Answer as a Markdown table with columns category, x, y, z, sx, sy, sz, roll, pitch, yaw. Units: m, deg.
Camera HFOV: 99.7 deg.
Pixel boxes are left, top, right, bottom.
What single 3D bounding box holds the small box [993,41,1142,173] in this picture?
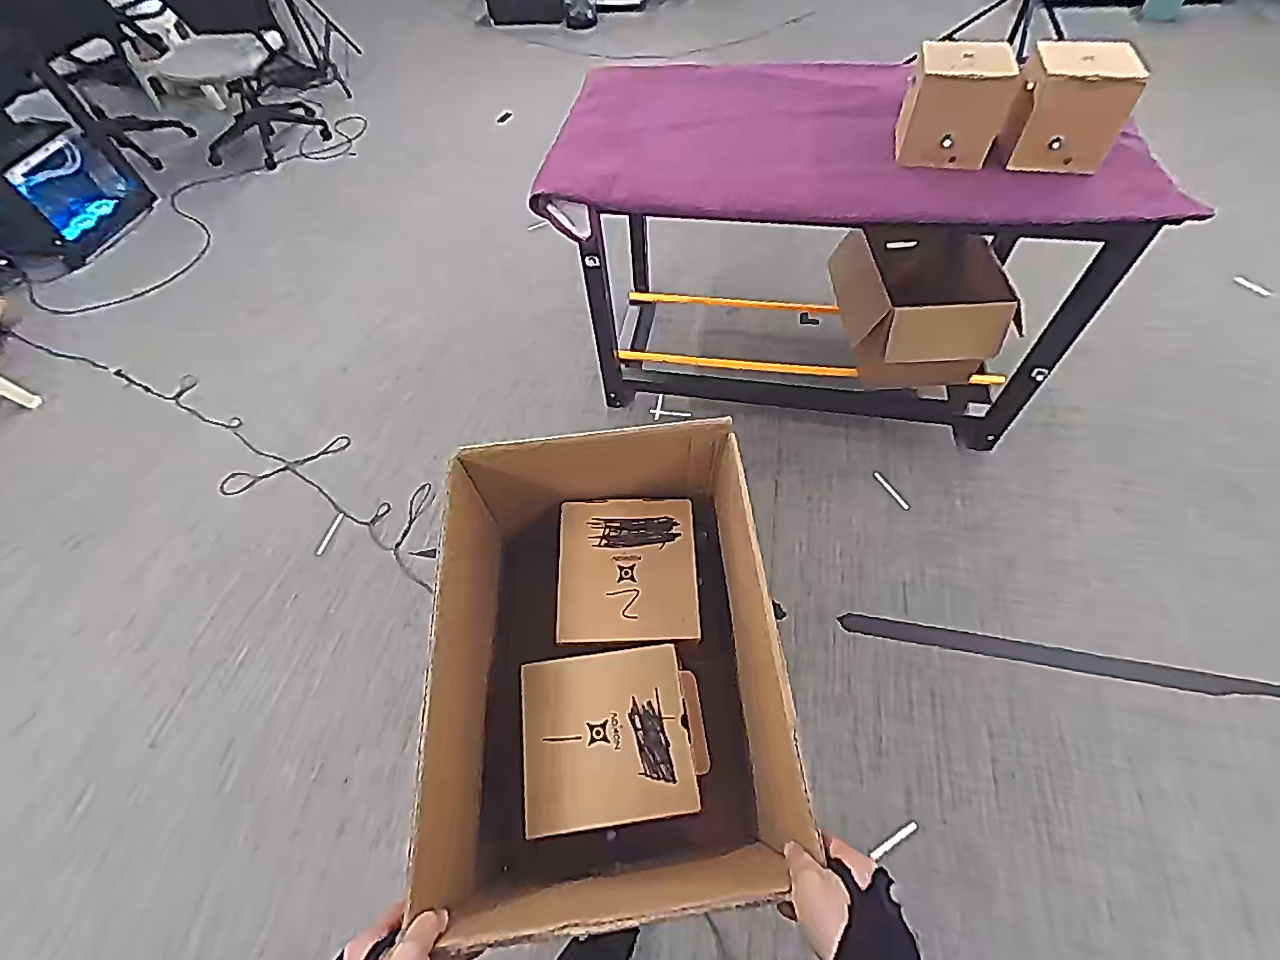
| category | x | y | z | sx | sy | sz | roll | pitch | yaw |
| --- | --- | --- | --- | --- | --- | --- | --- | --- | --- |
| small box | 0.833 | -0.743 | 1.078 | 0.168 | 0.176 | 0.179 | 9 | 56 | 12 |

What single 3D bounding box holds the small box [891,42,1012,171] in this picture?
| category | x | y | z | sx | sy | sz | roll | pitch | yaw |
| --- | --- | --- | --- | --- | --- | --- | --- | --- | --- |
| small box | 0.627 | -0.767 | 1.113 | 0.168 | 0.176 | 0.179 | 9 | 57 | 12 |
